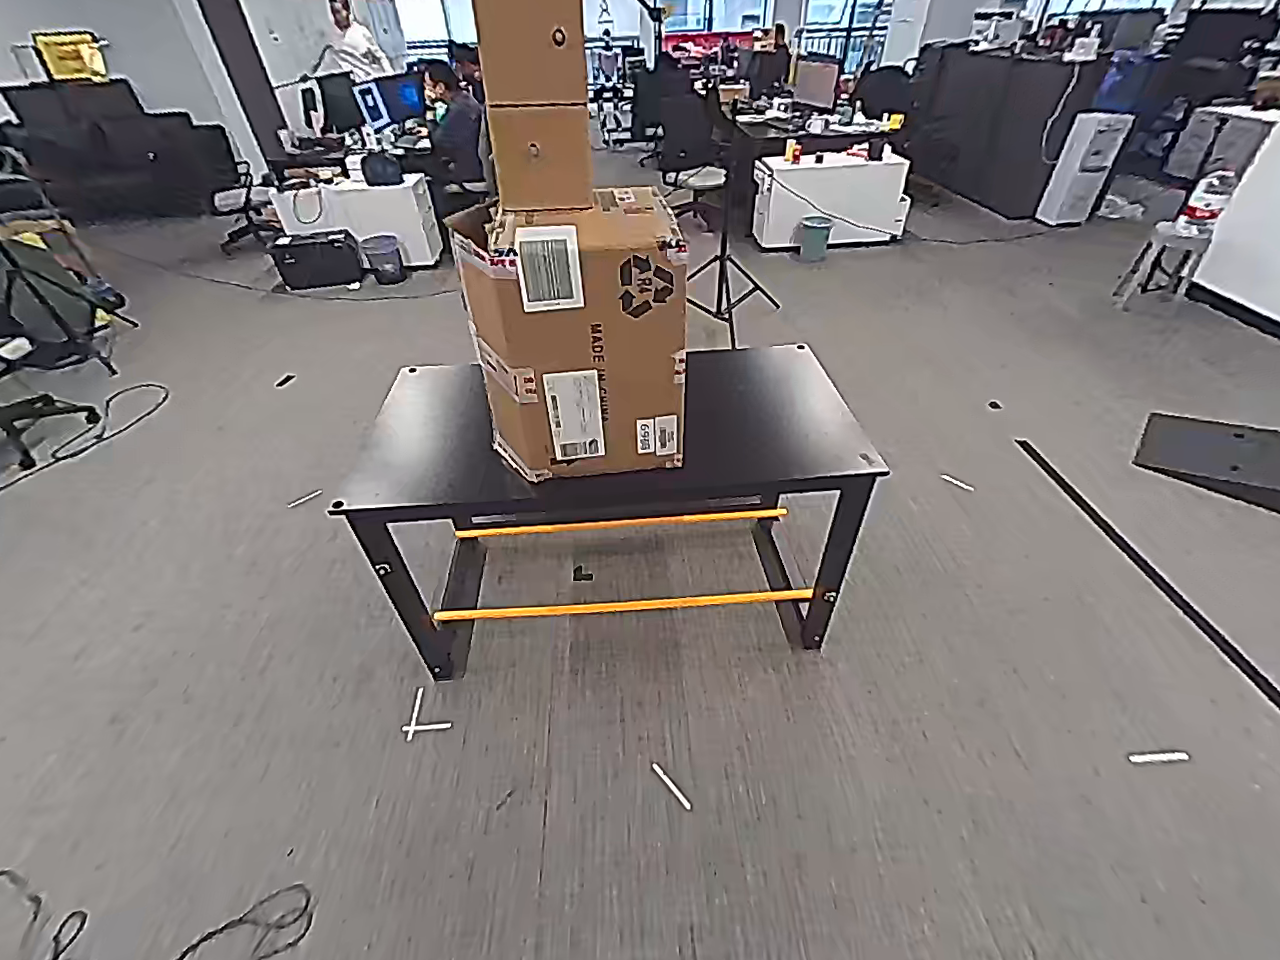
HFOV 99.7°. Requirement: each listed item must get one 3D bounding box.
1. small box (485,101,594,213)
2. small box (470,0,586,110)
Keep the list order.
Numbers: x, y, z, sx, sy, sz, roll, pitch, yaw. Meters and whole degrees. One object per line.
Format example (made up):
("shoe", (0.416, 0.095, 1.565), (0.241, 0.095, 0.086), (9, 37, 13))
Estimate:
("small box", (-0.186, -0.623, 1.040), (0.179, 0.176, 0.168), (-6, 39, -5))
("small box", (-0.187, -0.748, 0.934), (0.179, 0.176, 0.168), (-7, 38, -7))
